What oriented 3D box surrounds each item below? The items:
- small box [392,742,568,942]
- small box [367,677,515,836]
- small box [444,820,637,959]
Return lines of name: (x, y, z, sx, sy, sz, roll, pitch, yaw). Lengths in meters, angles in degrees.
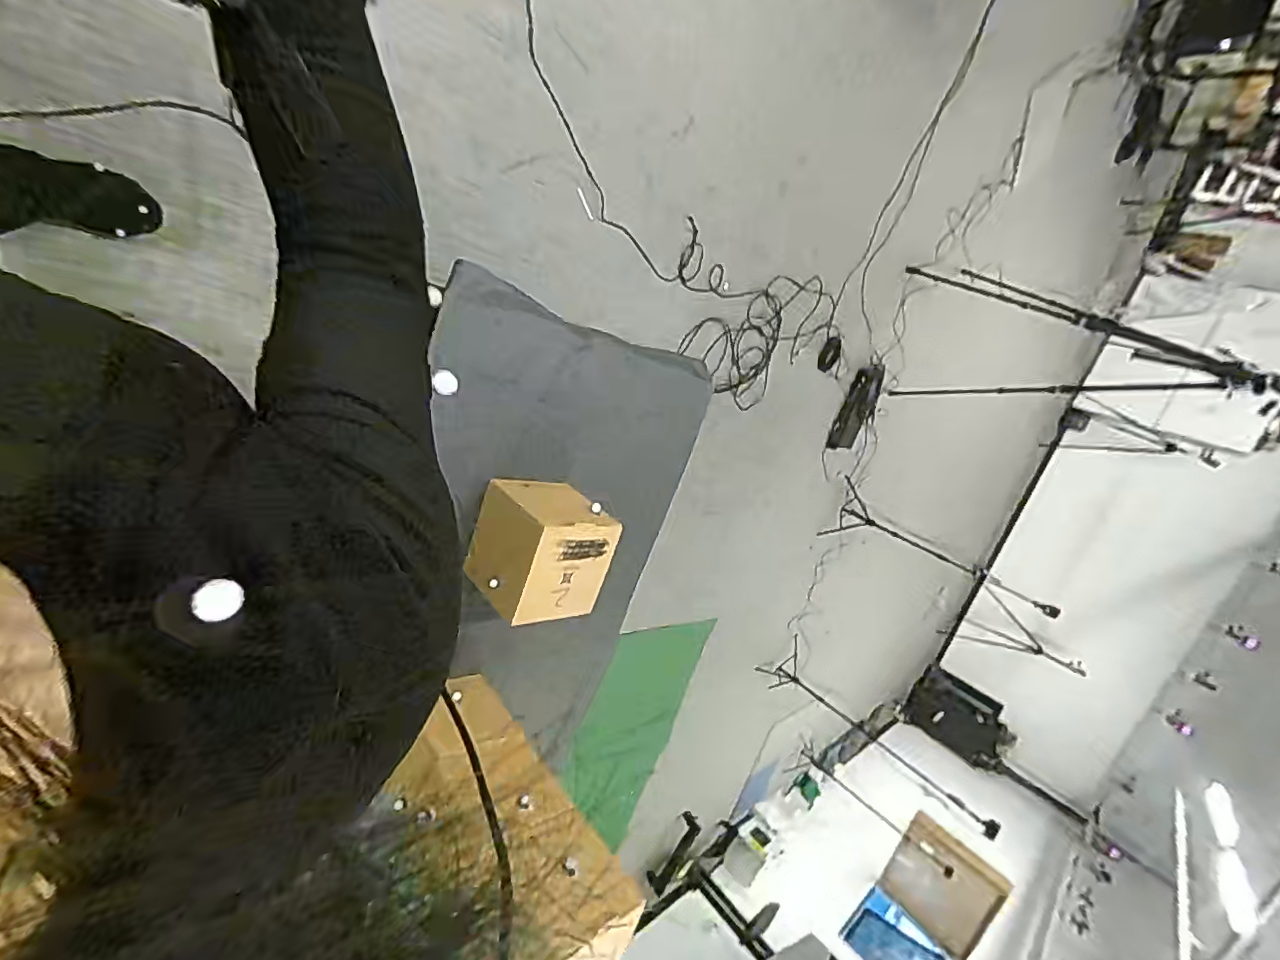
small box: (-0.251, 0.541, 0.842, 0.179, 0.176, 0.168, 14, 102, -48)
small box: (-0.354, 0.478, 0.950, 0.168, 0.176, 0.179, 10, 106, -50)
small box: (-0.140, 0.608, 0.741, 0.168, 0.176, 0.179, 16, 100, -50)
